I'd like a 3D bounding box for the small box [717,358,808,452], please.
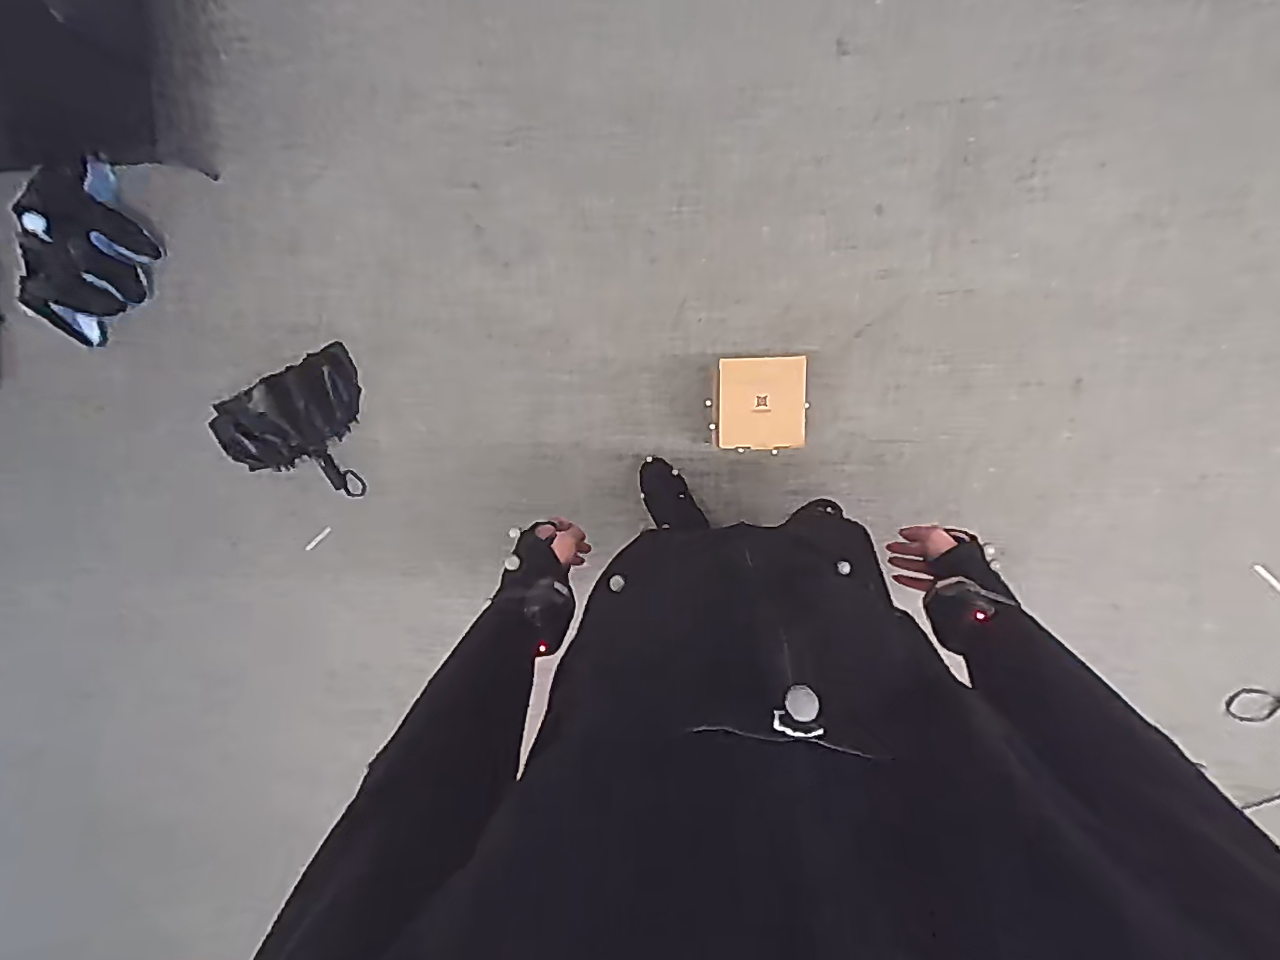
[{"bbox_3d":[0.247,-0.150,1.115,0.168,0.176,0.179,-1,94,6],"label":"small box"}]
